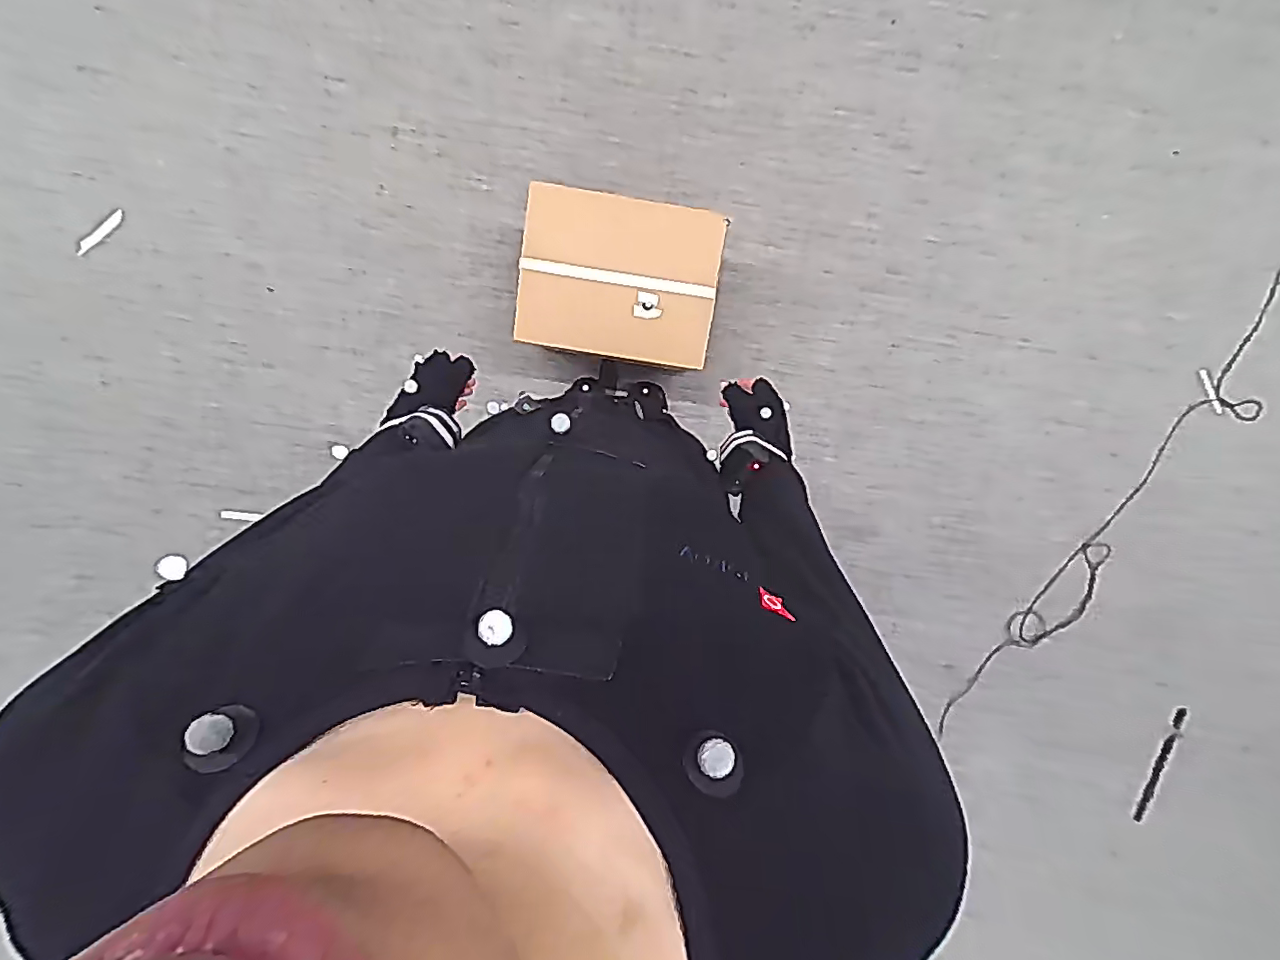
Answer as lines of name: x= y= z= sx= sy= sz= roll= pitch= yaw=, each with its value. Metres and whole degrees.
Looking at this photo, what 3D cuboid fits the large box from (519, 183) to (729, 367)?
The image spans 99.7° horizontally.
large box: x=-0.043 y=-0.445 z=1.251 sx=0.408 sy=0.320 sz=0.320 roll=8 pitch=101 yaw=-3
